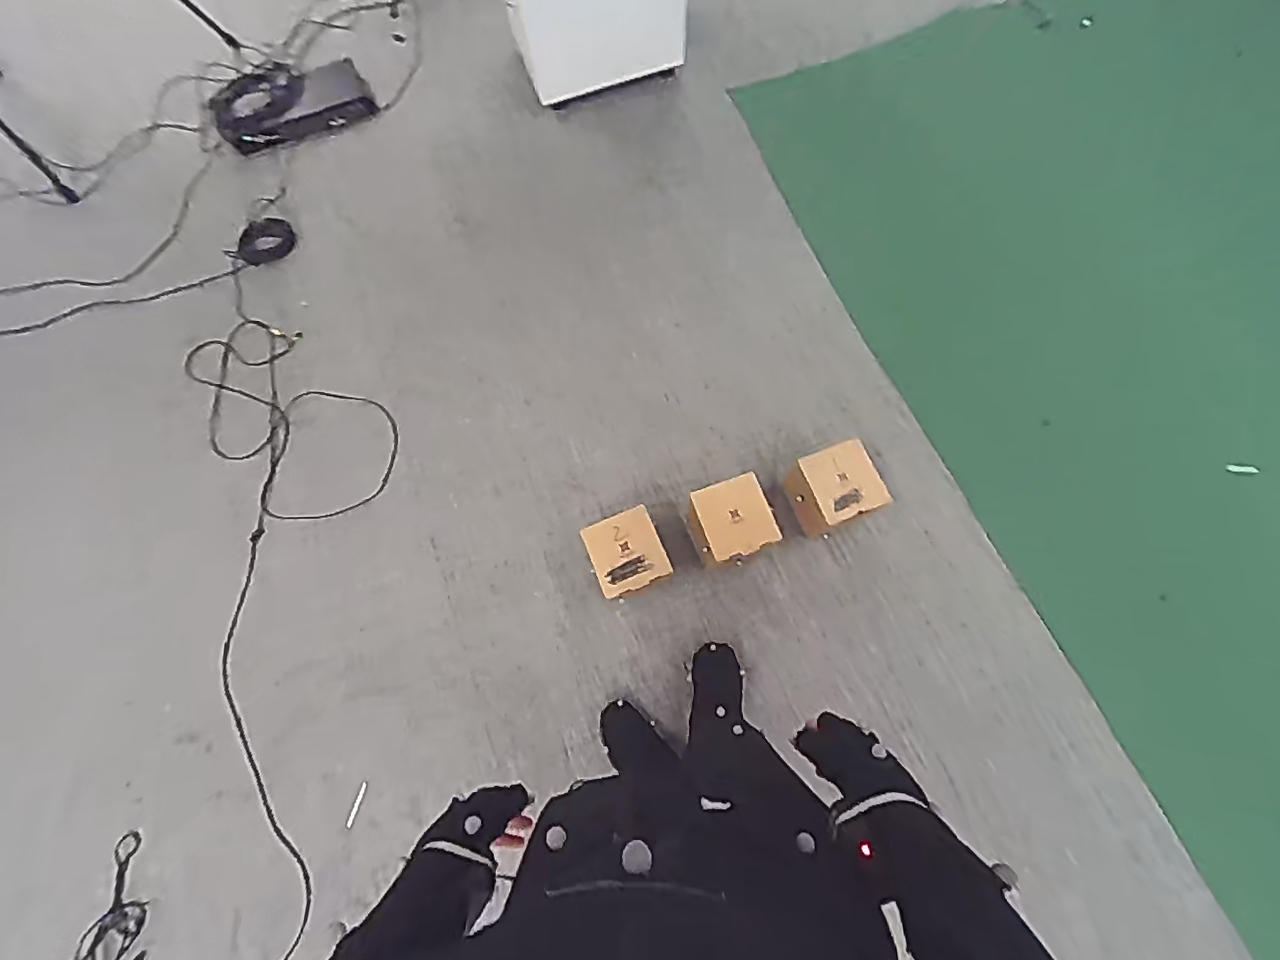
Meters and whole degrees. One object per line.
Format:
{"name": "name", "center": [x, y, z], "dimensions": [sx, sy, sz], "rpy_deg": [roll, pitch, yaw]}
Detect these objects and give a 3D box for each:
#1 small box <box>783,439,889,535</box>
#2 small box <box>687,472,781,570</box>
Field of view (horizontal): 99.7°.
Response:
{"name": "small box", "center": [0.478, 0.026, 1.348], "dimensions": [0.168, 0.176, 0.179], "rpy_deg": [-20, 72, -5]}
{"name": "small box", "center": [0.221, 0.106, 1.330], "dimensions": [0.168, 0.176, 0.179], "rpy_deg": [-19, 73, -5]}
